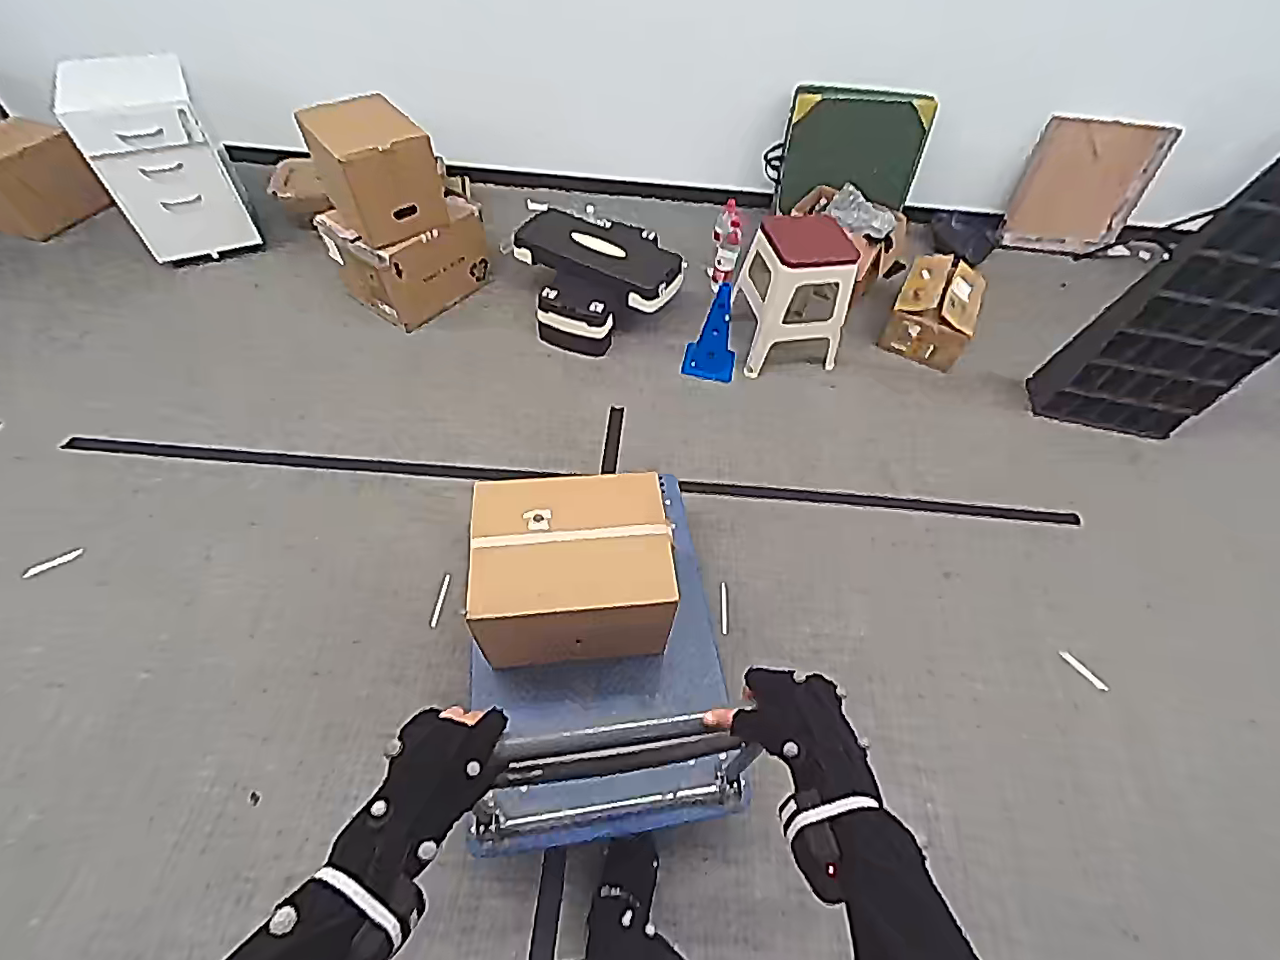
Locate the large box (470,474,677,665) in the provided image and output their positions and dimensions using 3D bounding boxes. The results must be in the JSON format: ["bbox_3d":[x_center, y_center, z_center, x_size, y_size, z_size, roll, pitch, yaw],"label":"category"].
[{"bbox_3d":[-0.148,0.210,1.239,0.408,0.320,0.320,-4,55,-6],"label":"large box"}]
